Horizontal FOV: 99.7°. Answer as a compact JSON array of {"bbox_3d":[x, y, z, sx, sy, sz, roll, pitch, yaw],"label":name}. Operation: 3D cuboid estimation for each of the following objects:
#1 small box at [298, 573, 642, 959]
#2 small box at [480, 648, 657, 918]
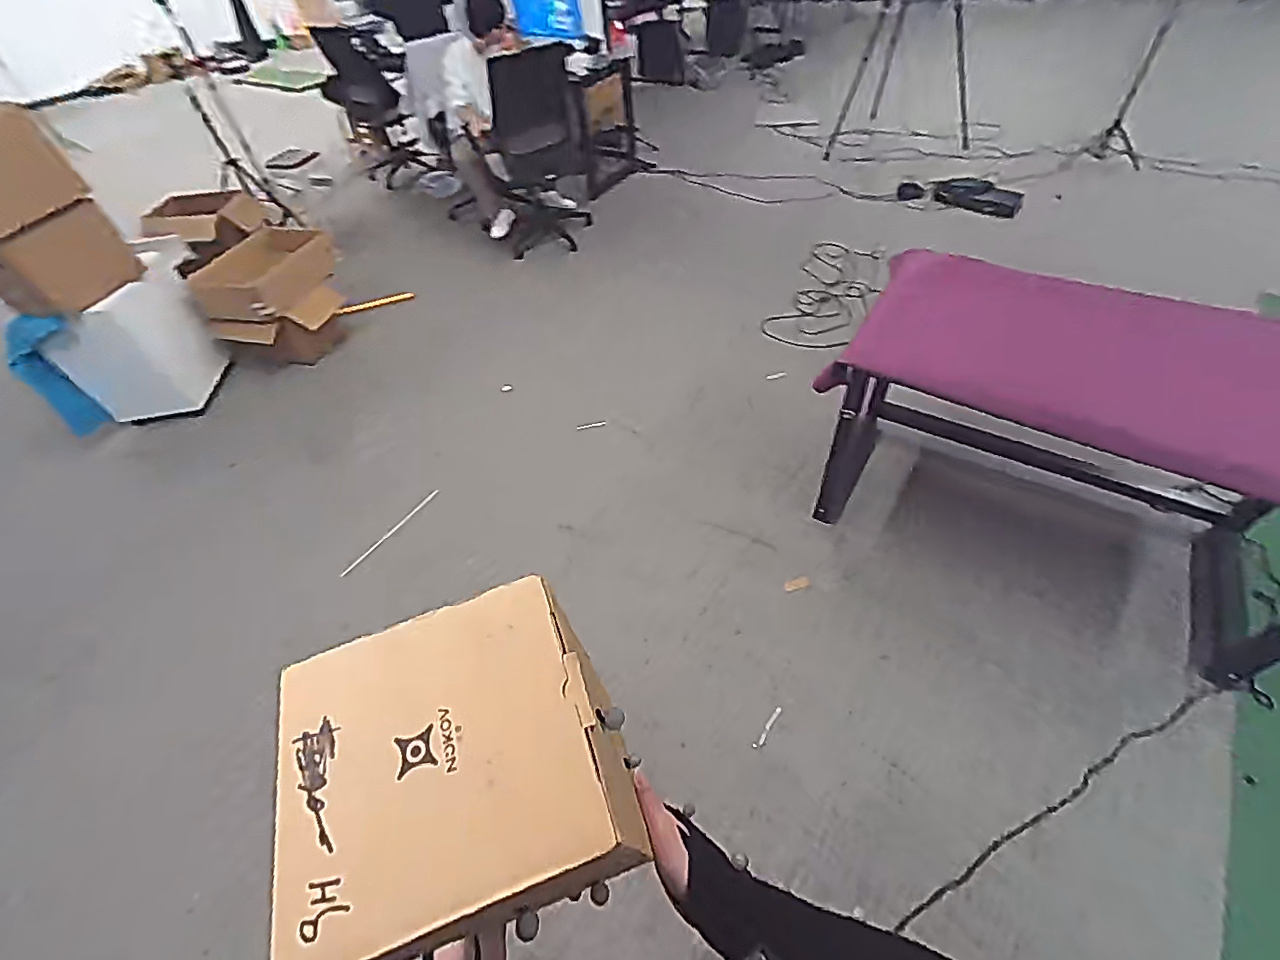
[{"bbox_3d":[-0.103,0.196,0.383,0.179,0.176,0.168,-19,54,-7],"label":"small box"},{"bbox_3d":[-0.088,0.288,0.517,0.179,0.176,0.168,-19,54,-6],"label":"small box"}]
